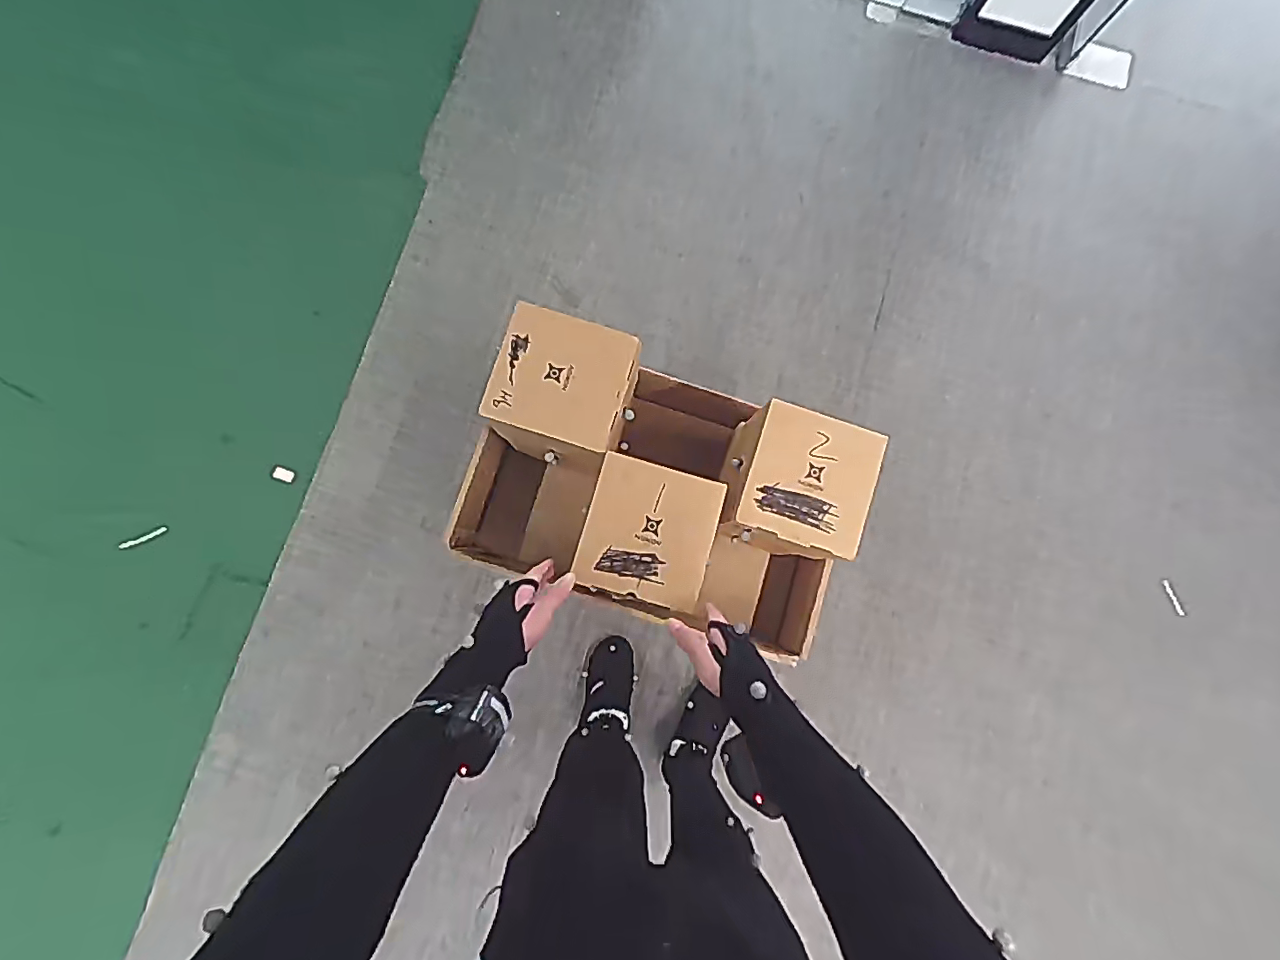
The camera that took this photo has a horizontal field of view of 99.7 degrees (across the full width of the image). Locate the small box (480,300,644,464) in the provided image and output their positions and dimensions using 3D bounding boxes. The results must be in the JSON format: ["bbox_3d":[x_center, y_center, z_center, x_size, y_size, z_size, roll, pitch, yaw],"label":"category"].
[{"bbox_3d":[-0.105,-0.129,0.788,0.179,0.176,0.168,18,83,-1],"label":"small box"}]
